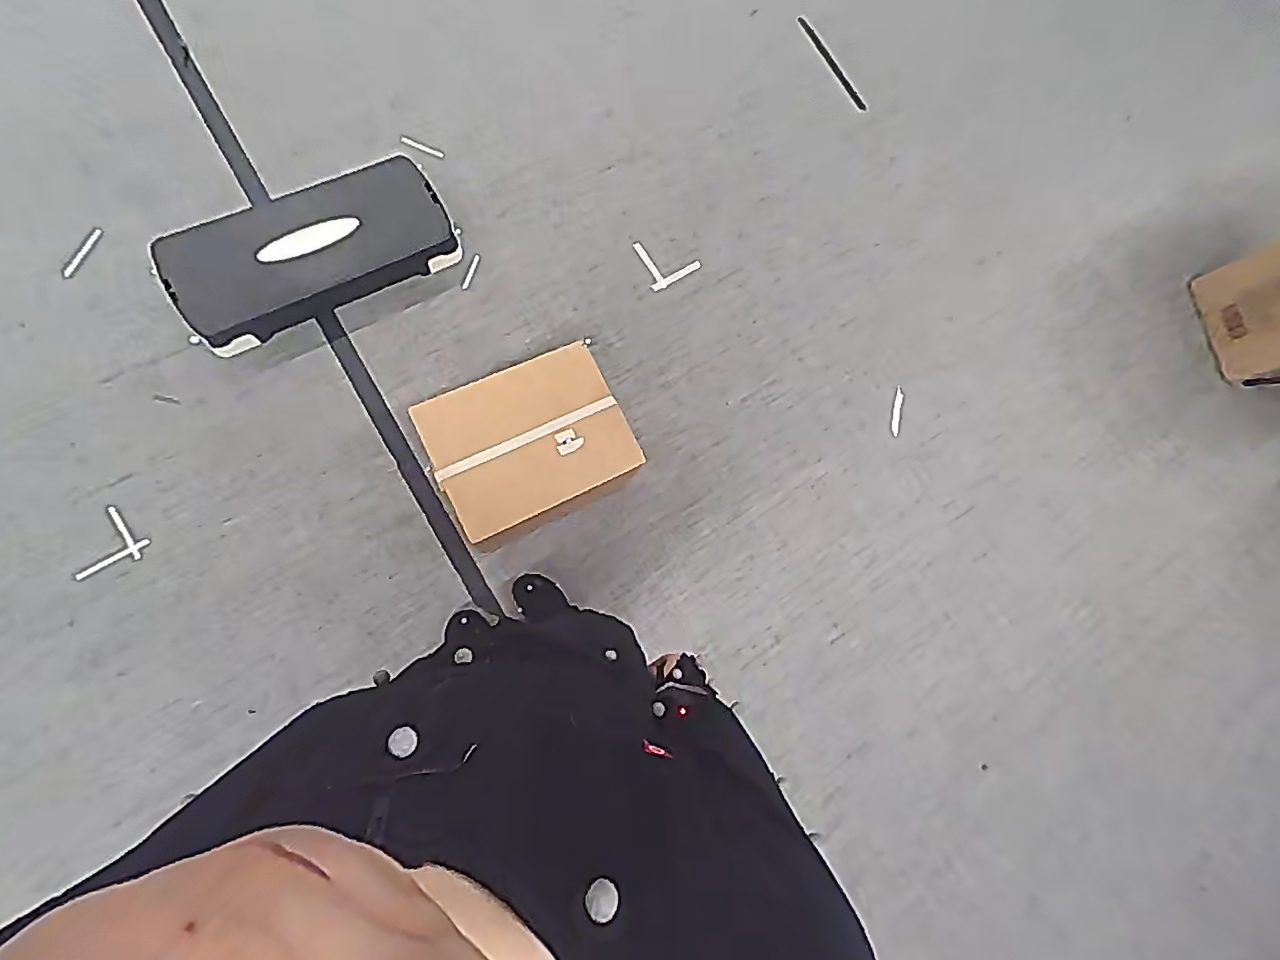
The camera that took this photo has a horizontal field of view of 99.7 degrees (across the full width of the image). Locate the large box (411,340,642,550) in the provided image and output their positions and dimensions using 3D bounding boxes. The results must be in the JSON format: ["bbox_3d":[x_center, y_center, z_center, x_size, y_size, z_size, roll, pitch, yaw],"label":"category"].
[{"bbox_3d":[-0.263,-0.066,1.289,0.408,0.320,0.320,-26,86,-15],"label":"large box"}]
